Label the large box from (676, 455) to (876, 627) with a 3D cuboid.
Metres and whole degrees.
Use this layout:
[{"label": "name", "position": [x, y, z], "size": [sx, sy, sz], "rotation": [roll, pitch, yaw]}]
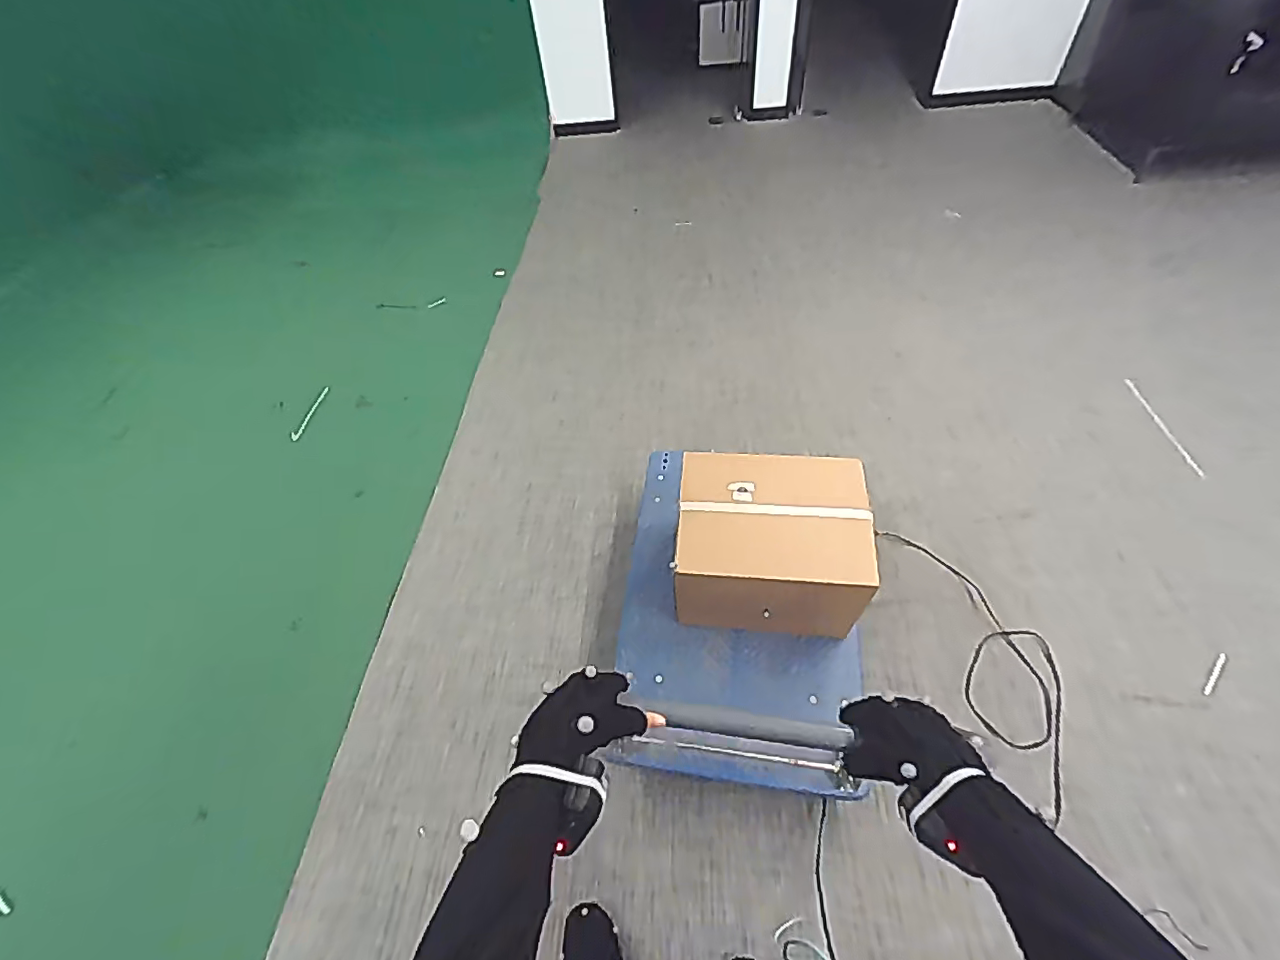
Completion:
[{"label": "large box", "position": [0.303, 0.151, 1.300], "size": [0.408, 0.320, 0.320], "rotation": [1, 56, 8]}]
